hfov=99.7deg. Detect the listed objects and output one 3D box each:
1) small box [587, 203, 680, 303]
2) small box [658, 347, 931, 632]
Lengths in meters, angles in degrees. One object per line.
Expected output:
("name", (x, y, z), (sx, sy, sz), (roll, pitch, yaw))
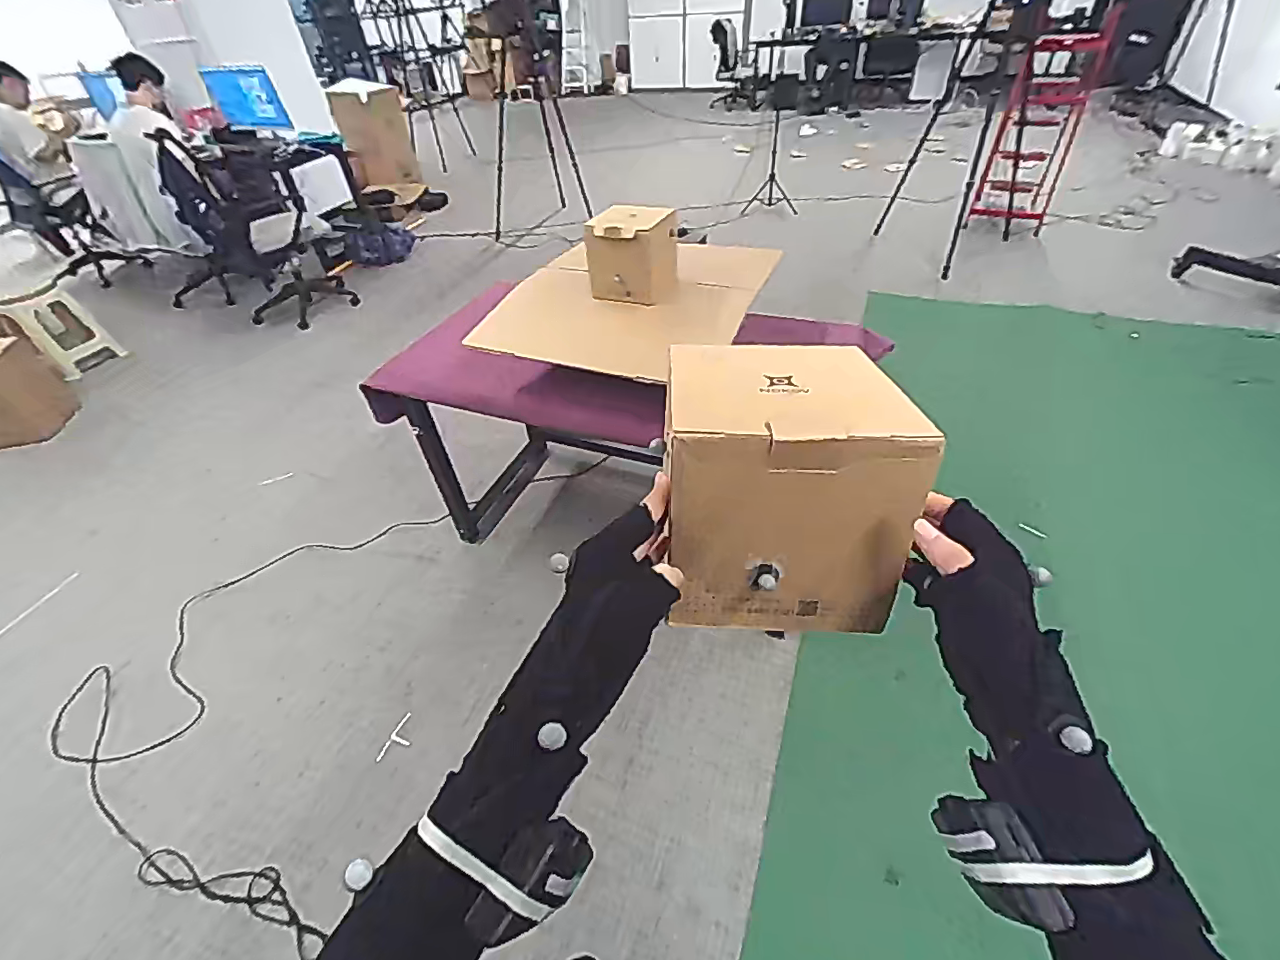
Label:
("small box", (-0.010, -0.552, 1.311), (0.168, 0.176, 0.179), (14, 46, 20))
("small box", (0.099, -0.001, 0.443), (0.168, 0.176, 0.179), (0, 32, 2))
